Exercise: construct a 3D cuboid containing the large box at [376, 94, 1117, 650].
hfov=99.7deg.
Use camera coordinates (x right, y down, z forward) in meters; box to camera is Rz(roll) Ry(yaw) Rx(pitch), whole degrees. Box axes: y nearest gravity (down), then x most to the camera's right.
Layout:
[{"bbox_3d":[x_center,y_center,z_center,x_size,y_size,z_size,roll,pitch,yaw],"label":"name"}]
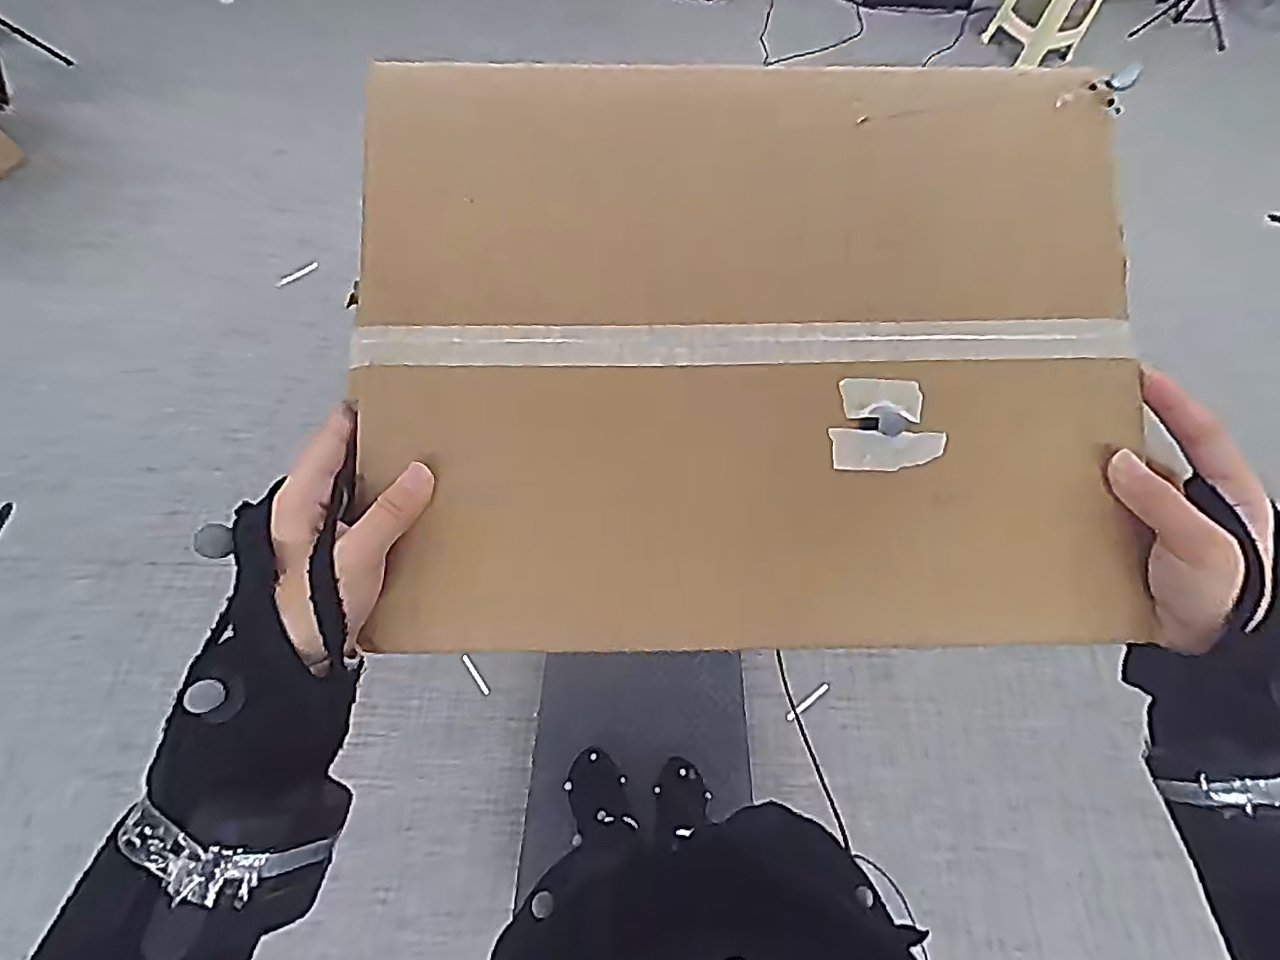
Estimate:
[{"bbox_3d":[0.051,-0.056,0.447,0.408,0.320,0.320,-1,86,-2],"label":"large box"}]
